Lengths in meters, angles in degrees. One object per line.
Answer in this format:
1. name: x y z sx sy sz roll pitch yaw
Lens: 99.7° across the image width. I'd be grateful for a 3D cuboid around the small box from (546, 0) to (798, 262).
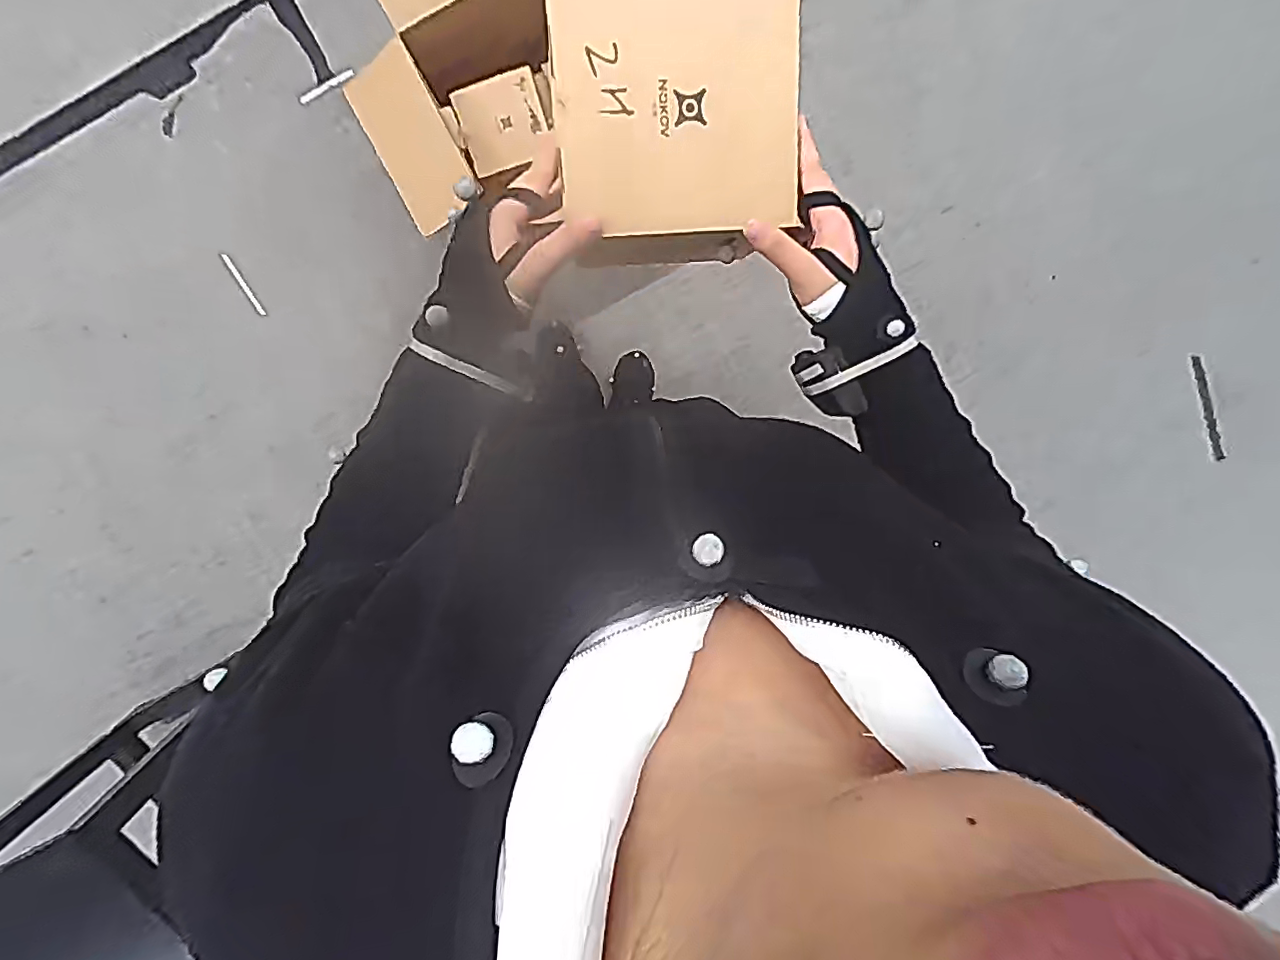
1. small box: 0.020 -0.286 0.460 0.179 0.176 0.168 -4 104 -2
